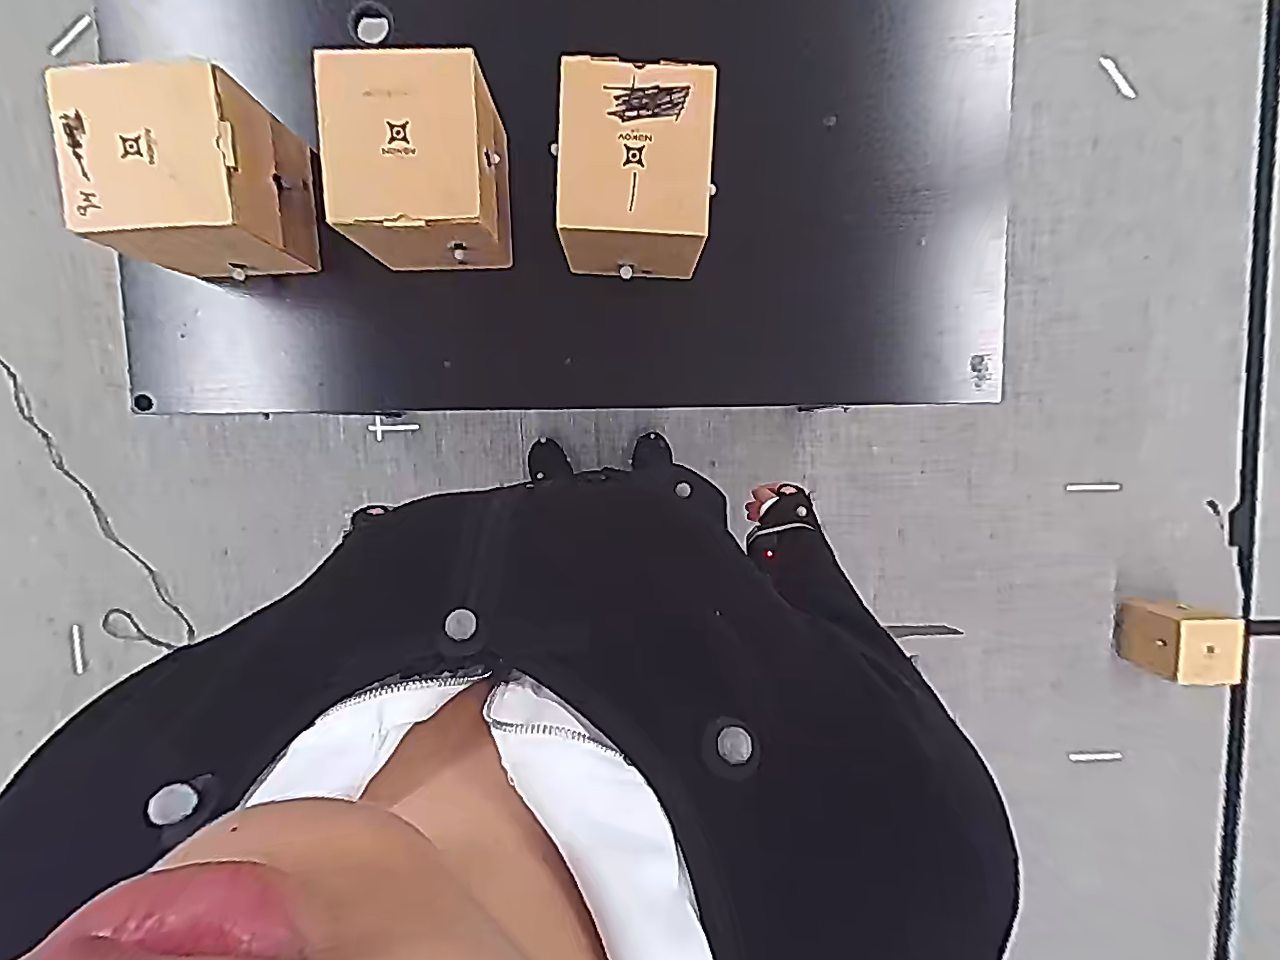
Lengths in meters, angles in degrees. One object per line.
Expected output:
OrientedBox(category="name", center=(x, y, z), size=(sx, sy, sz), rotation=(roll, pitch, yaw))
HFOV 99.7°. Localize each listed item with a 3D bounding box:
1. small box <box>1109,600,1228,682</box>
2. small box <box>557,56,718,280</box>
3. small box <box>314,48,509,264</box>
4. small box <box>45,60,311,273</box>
OrientedBox(category="small box", center=(1.452, 0.438, 1.496), size=(0.168, 0.176, 0.179), rotation=(-1, 96, -1))
OrientedBox(category="small box", center=(-0.007, -0.360, 0.654), size=(0.168, 0.176, 0.179), rotation=(3, 95, -2))
OrientedBox(category="small box", center=(-0.257, -0.368, 0.648), size=(0.168, 0.176, 0.179), rotation=(-2, 94, -2))
OrientedBox(category="small box", center=(-0.518, -0.354, 0.639), size=(0.179, 0.176, 0.168), rotation=(-3, 94, -3))
